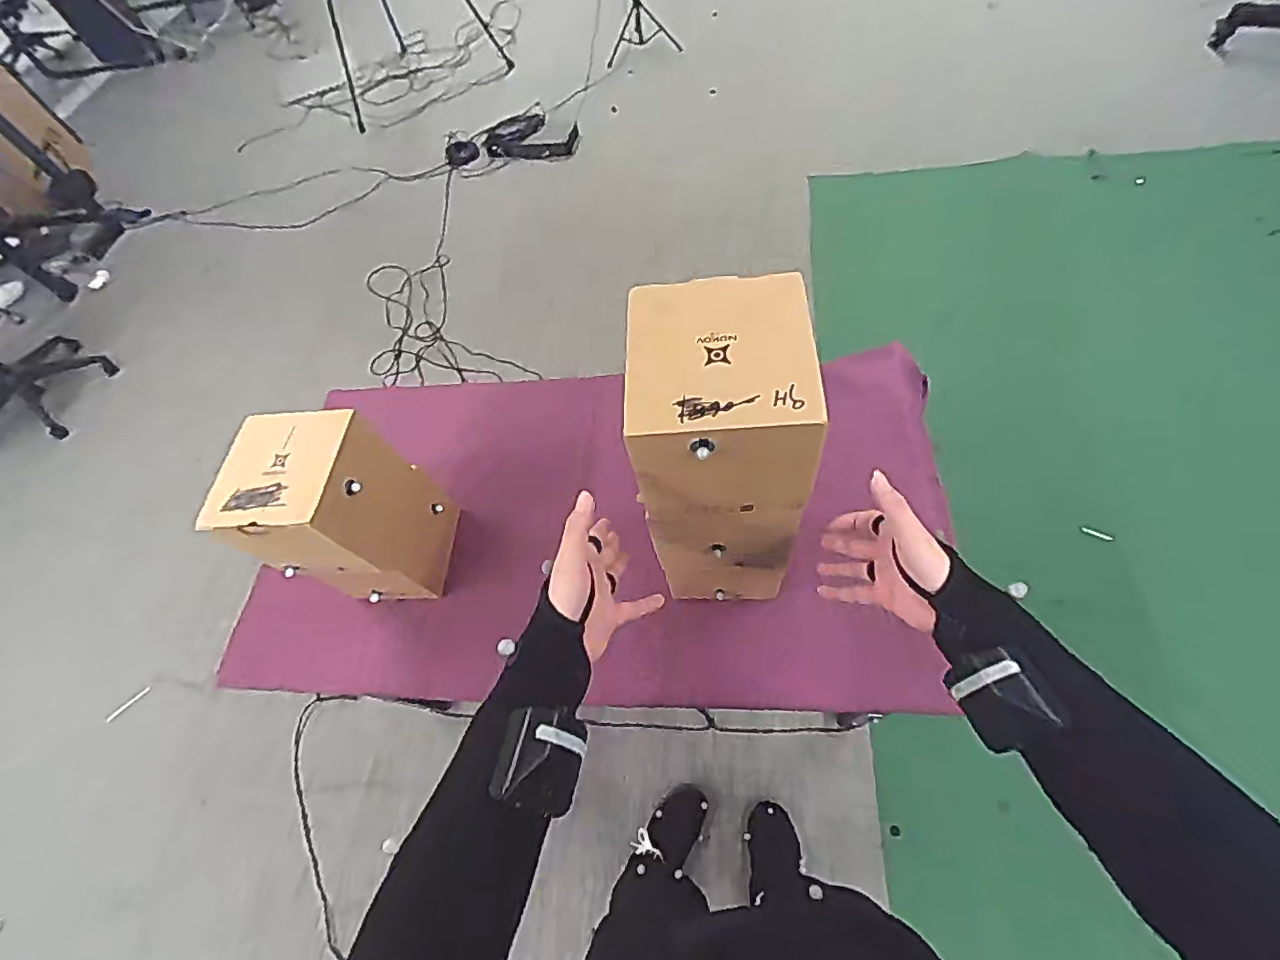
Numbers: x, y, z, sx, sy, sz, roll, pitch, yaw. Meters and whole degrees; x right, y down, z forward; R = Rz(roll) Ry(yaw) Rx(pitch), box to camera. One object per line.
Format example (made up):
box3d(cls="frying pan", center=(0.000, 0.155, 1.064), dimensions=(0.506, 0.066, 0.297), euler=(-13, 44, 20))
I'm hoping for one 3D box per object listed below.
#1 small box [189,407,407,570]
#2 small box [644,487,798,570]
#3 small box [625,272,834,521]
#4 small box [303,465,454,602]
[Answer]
box3d(cls="small box", center=(-0.455, 0.020, 0.756), dimensions=(0.168, 0.176, 0.179), euler=(-2, 59, 9))
box3d(cls="small box", center=(0.102, 0.006, 0.675), dimensions=(0.168, 0.176, 0.179), euler=(-1, 60, 8))
box3d(cls="small box", center=(0.083, -0.075, 0.534), dimensions=(0.168, 0.176, 0.179), euler=(-3, 60, 8))
box3d(cls="small box", center=(-0.431, 0.092, 0.901), dimensions=(0.168, 0.176, 0.179), euler=(-2, 61, 8))
